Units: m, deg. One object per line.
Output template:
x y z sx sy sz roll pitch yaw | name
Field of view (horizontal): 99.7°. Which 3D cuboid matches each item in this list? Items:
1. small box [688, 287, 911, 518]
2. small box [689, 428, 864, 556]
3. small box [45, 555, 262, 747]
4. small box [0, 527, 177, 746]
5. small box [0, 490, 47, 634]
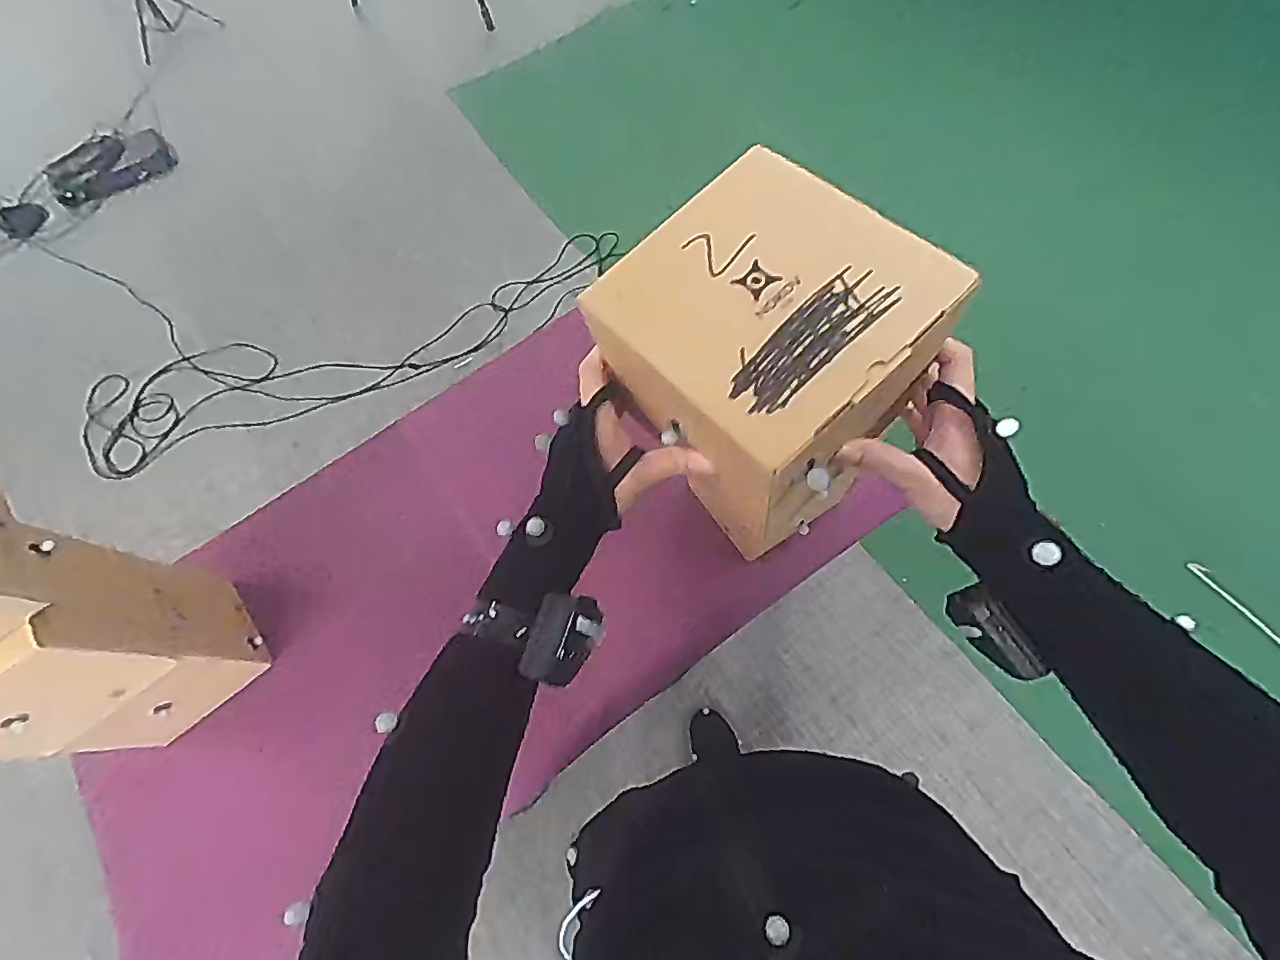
0.171 -0.083 0.642 0.168 0.176 0.179 -33 68 -7 | small box
0.184 -0.015 0.790 0.179 0.176 0.168 -32 68 -9 | small box
-0.670 0.235 0.746 0.179 0.176 0.168 -39 70 -11 | small box
-0.673 0.173 0.597 0.168 0.176 0.179 -38 70 -12 | small box
-0.690 0.085 0.457 0.179 0.176 0.168 -41 71 -13 | small box
